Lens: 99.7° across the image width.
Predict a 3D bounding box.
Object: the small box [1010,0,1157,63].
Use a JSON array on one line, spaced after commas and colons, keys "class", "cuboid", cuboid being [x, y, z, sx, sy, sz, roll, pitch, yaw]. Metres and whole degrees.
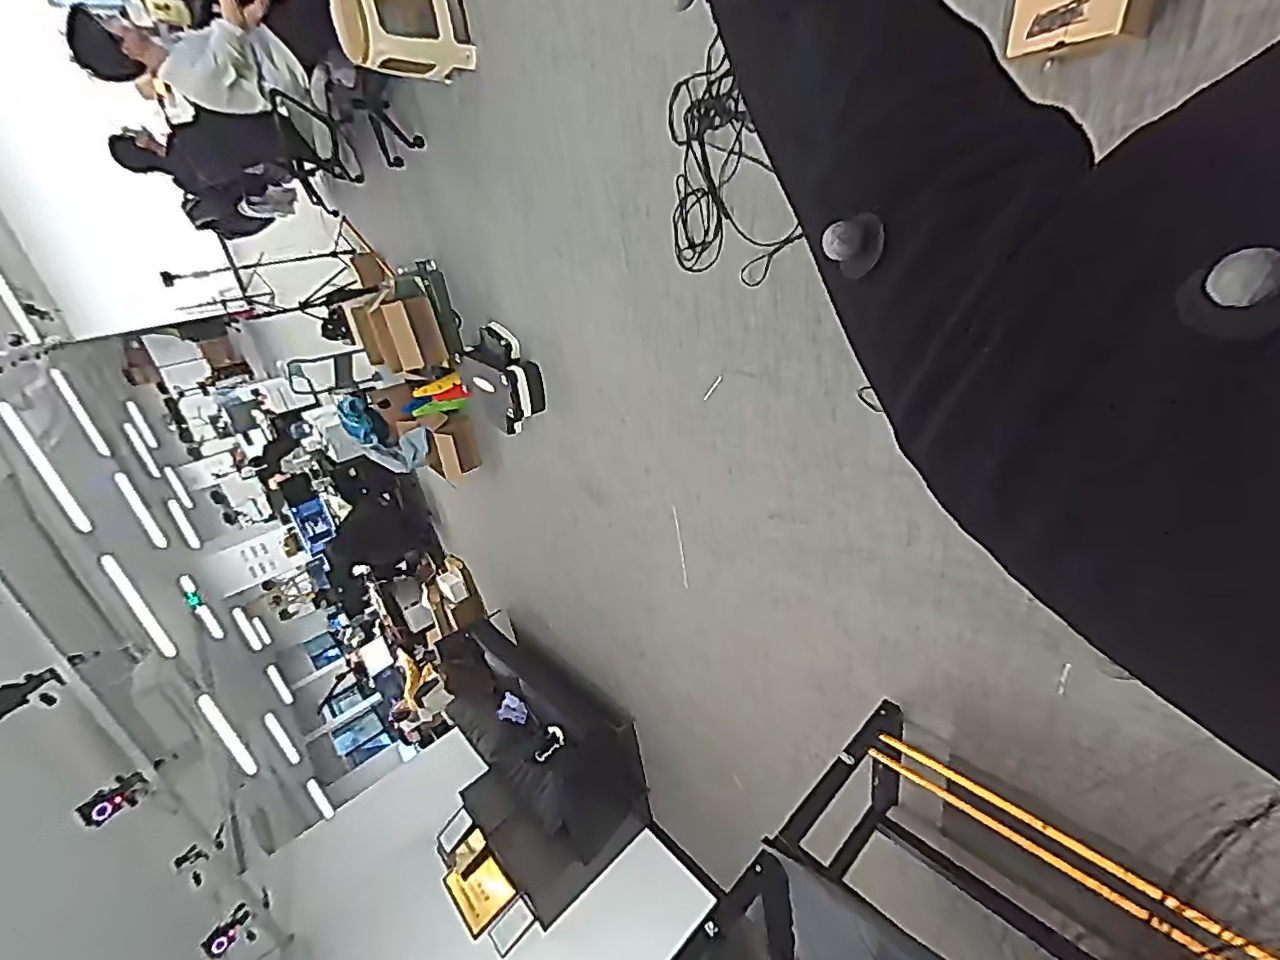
[{"class": "small box", "cuboid": [0.776, -0.844, 0.931, 0.168, 0.176, 0.179, 24, 130, 44]}]
